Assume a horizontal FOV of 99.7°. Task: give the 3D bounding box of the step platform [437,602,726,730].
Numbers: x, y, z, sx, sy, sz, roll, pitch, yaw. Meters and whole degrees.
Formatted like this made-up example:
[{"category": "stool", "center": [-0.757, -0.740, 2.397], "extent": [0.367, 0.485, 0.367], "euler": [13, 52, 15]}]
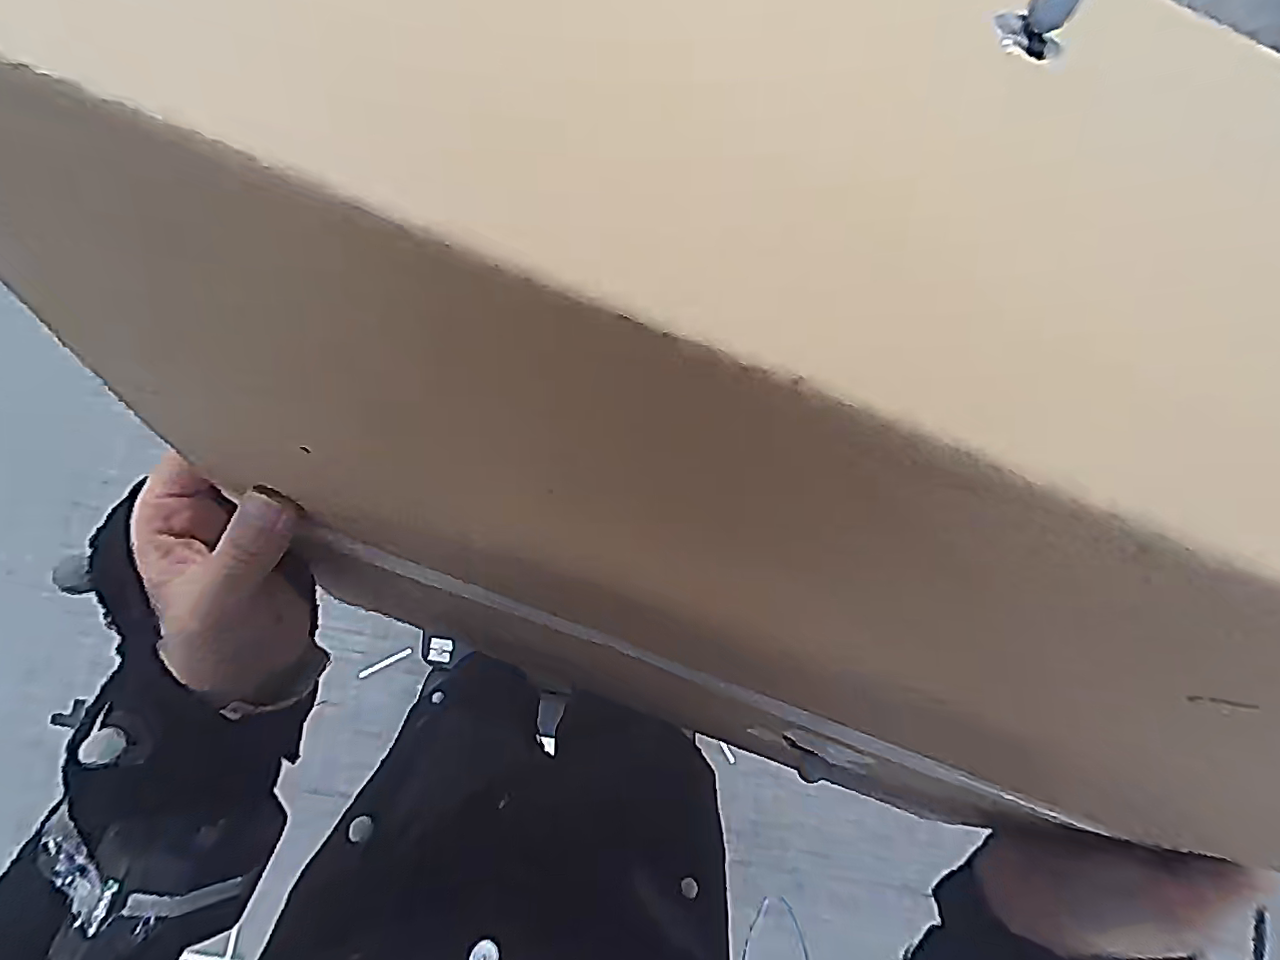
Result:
[{"category": "step platform", "center": [-0.109, 0.337, 1.267], "extent": [0.684, 0.204, 0.286], "euler": [17, 82, 0]}]
